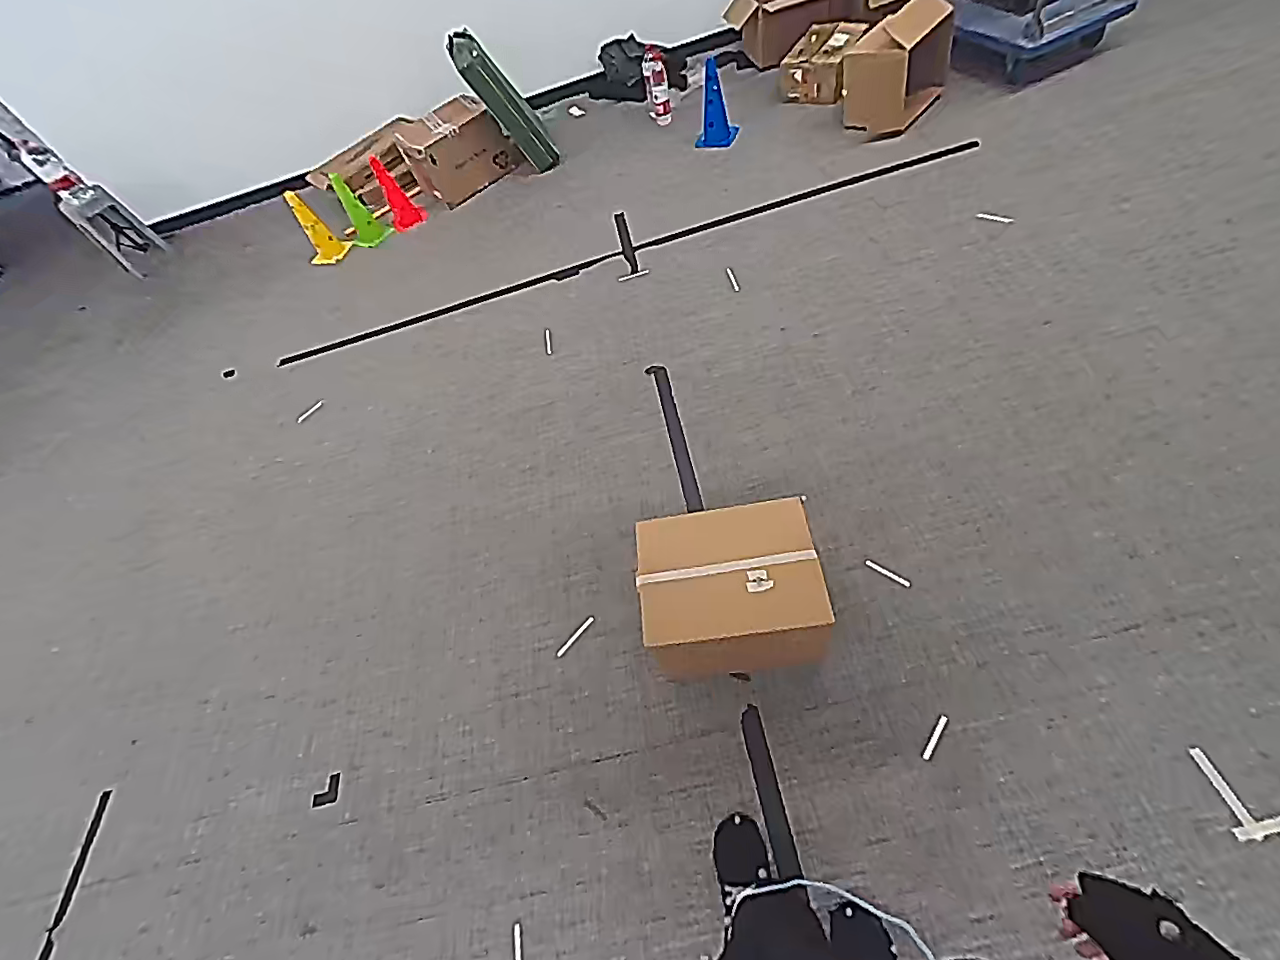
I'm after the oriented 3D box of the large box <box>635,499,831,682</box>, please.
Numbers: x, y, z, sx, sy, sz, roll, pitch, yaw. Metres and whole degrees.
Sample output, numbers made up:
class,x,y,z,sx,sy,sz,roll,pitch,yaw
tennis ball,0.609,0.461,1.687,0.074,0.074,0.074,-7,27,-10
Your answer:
class,x,y,z,sx,sy,sz,roll,pitch,yaw
large box,0.218,0.285,1.338,0.408,0.320,0.320,-9,56,7
